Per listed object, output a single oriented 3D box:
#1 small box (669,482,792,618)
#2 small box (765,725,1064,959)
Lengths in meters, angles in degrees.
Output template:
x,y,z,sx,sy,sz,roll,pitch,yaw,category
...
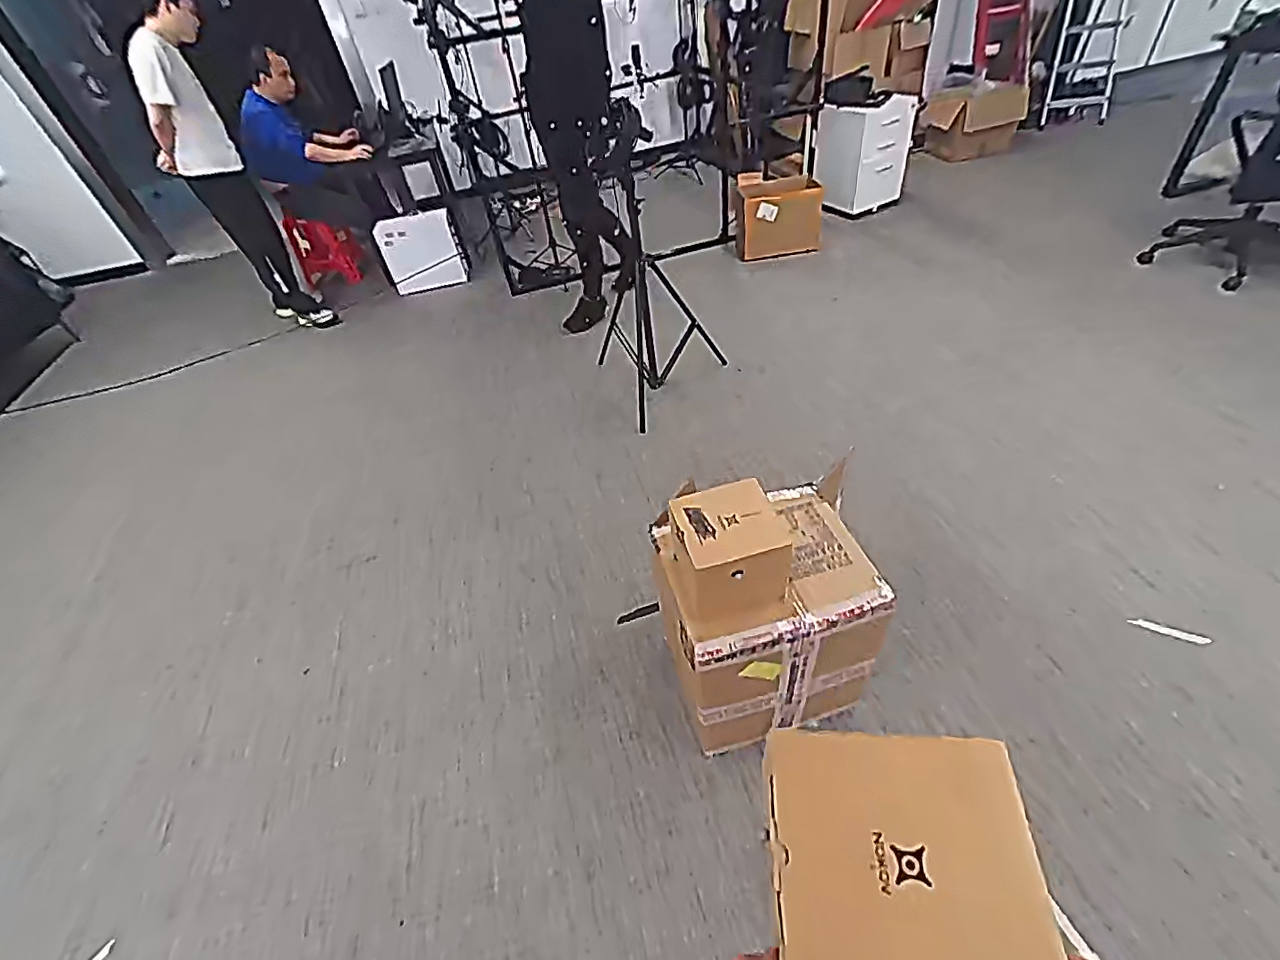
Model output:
x,y,z,sx,sy,sz,roll,pitch,yaw,category
0.165,0.134,1.011,0.179,0.176,0.168,-14,46,-5,small box
0.198,0.308,0.445,0.179,0.176,0.168,-3,55,11,small box
